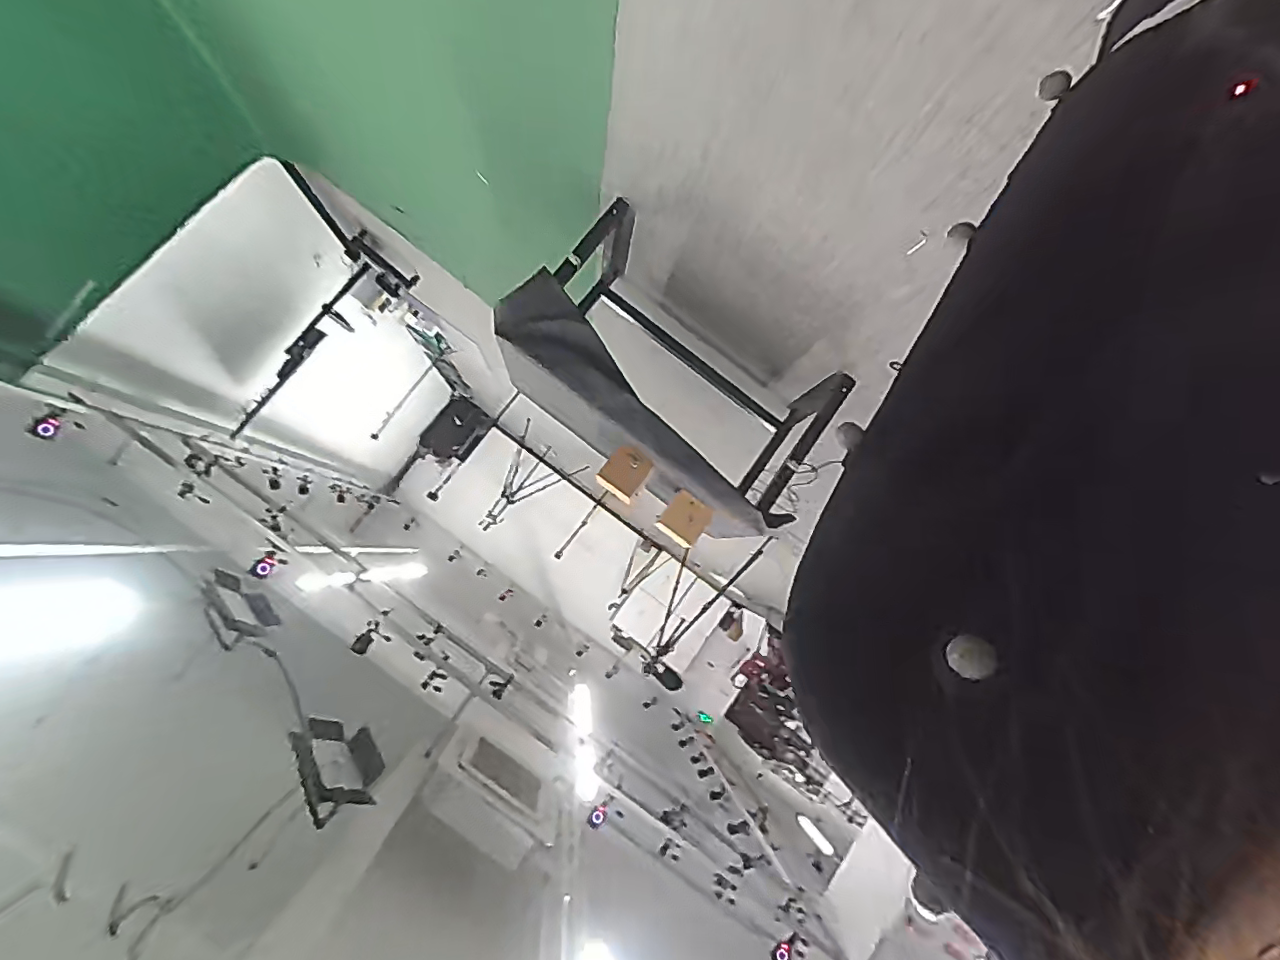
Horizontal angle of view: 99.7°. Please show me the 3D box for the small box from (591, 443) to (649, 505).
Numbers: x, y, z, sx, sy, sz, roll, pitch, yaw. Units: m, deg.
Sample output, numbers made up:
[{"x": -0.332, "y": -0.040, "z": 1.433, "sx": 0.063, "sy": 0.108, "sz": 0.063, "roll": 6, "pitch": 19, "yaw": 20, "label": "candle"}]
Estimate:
[{"x": -0.076, "y": -0.023, "z": 2.162, "sx": 0.168, "sy": 0.176, "sz": 0.179, "roll": 35, "pitch": 169, "yaw": 5, "label": "small box"}]

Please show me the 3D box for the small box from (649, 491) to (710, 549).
[{"x": 0.161, "y": 0.159, "z": 2.171, "sx": 0.168, "sy": 0.176, "sz": 0.179, "roll": 37, "pitch": 170, "yaw": 0, "label": "small box"}]
